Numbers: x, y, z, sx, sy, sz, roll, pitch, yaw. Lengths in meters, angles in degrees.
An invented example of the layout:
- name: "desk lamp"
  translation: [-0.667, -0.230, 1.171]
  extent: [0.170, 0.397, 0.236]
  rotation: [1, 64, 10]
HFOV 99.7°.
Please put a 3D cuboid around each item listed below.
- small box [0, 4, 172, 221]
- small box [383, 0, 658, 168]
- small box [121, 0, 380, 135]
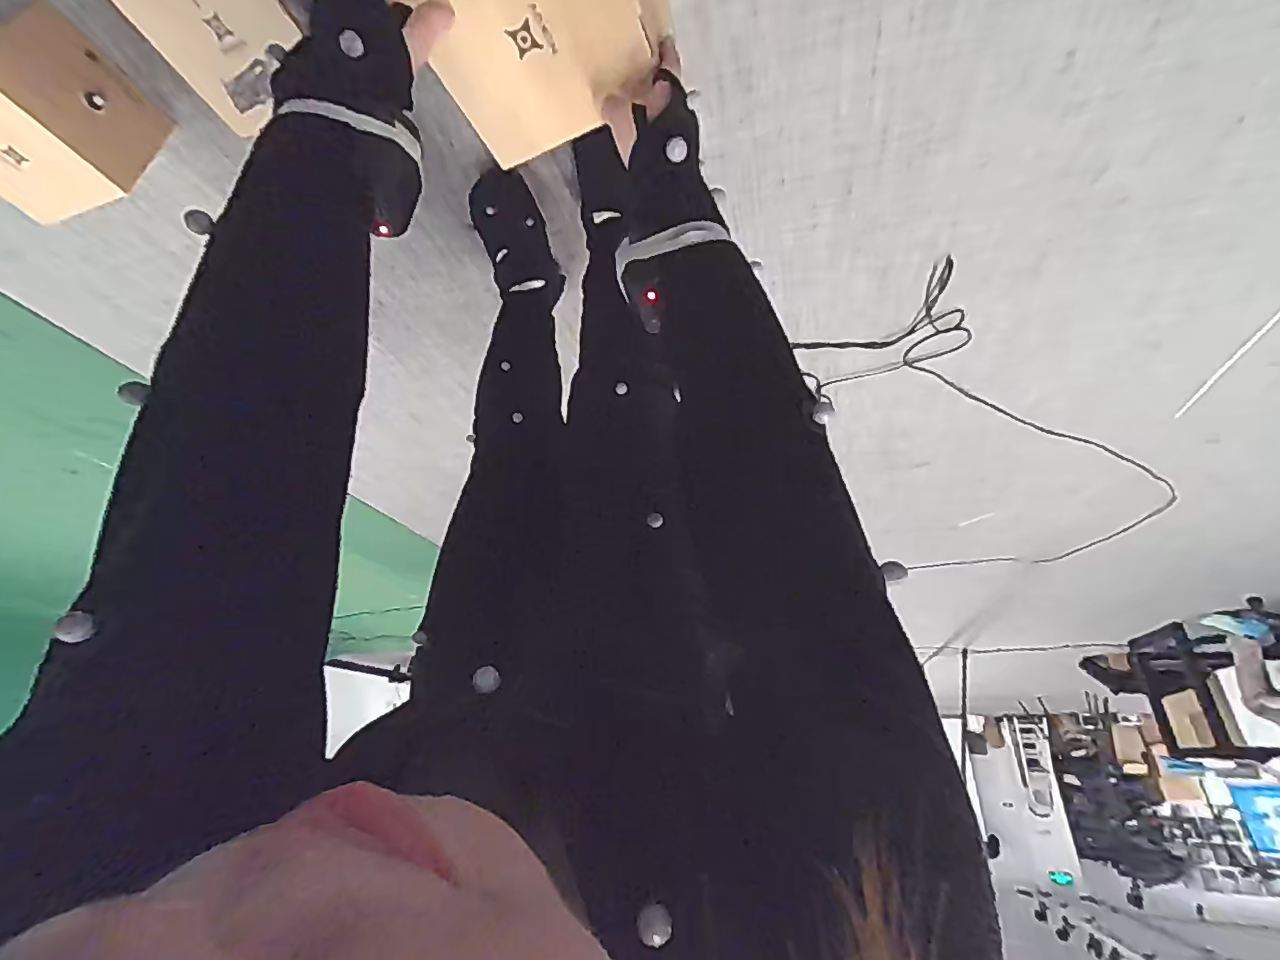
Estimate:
- name: "small box"
  translation: [-0.799, -0.497, 0.740]
  extent: [0.179, 0.176, 0.168]
  rotation: [-6, 151, 16]
- name: "small box"
  translation: [-0.089, -0.424, 0.470]
  extent: [0.179, 0.176, 0.168]
  rotation: [-10, 151, 22]
- name: "small box"
  translation: [-0.433, -0.545, 0.615]
  extent: [0.168, 0.176, 0.179]
  rotation: [-6, 151, 16]
